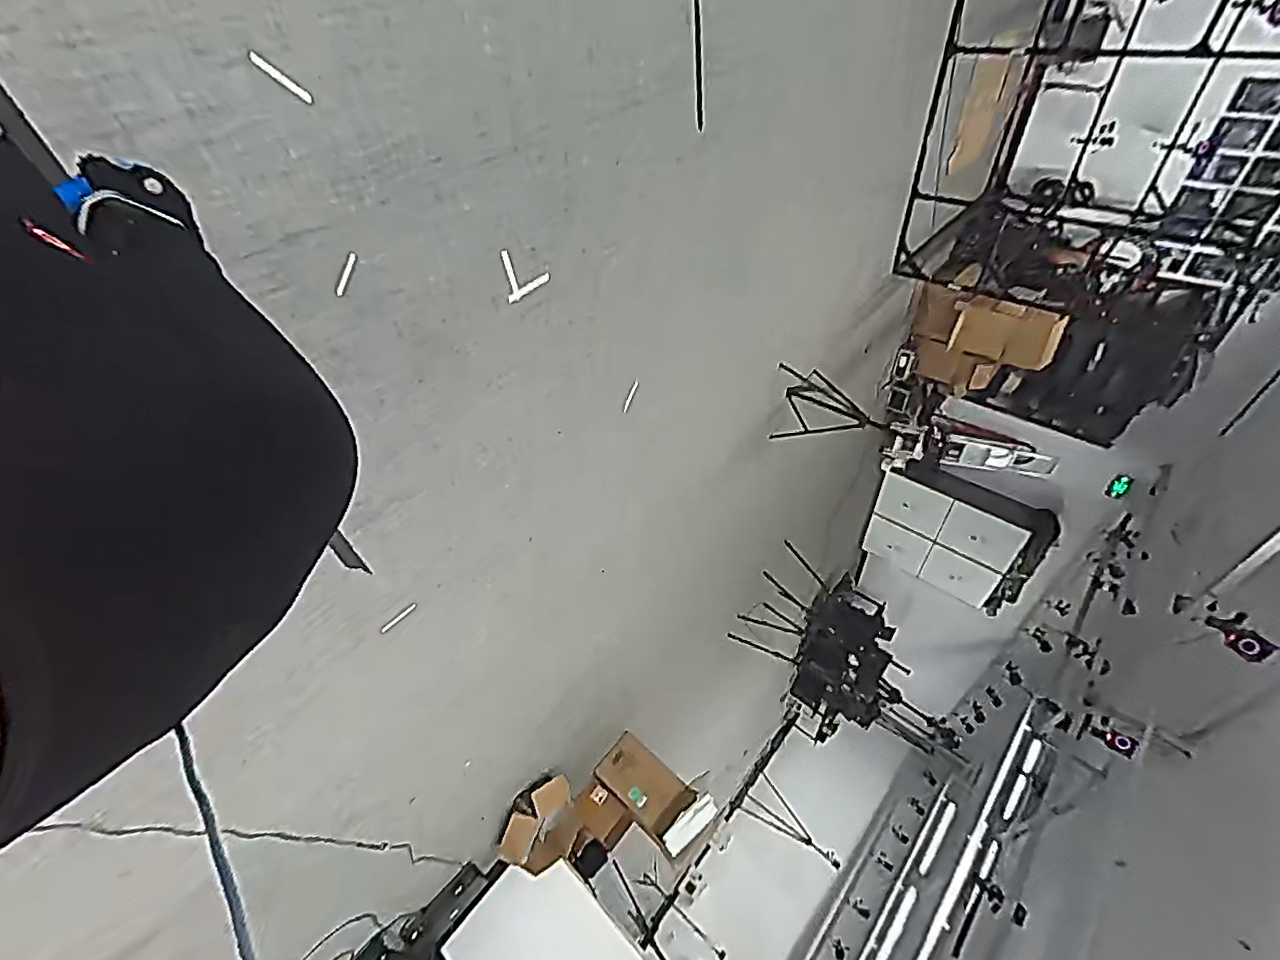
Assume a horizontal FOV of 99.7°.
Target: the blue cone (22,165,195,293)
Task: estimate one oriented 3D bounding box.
[{"bbox_3d":[-0.873,-0.401,0.943,0.192,0.380,0.193,-44,146,-26],"label":"blue cone"}]
